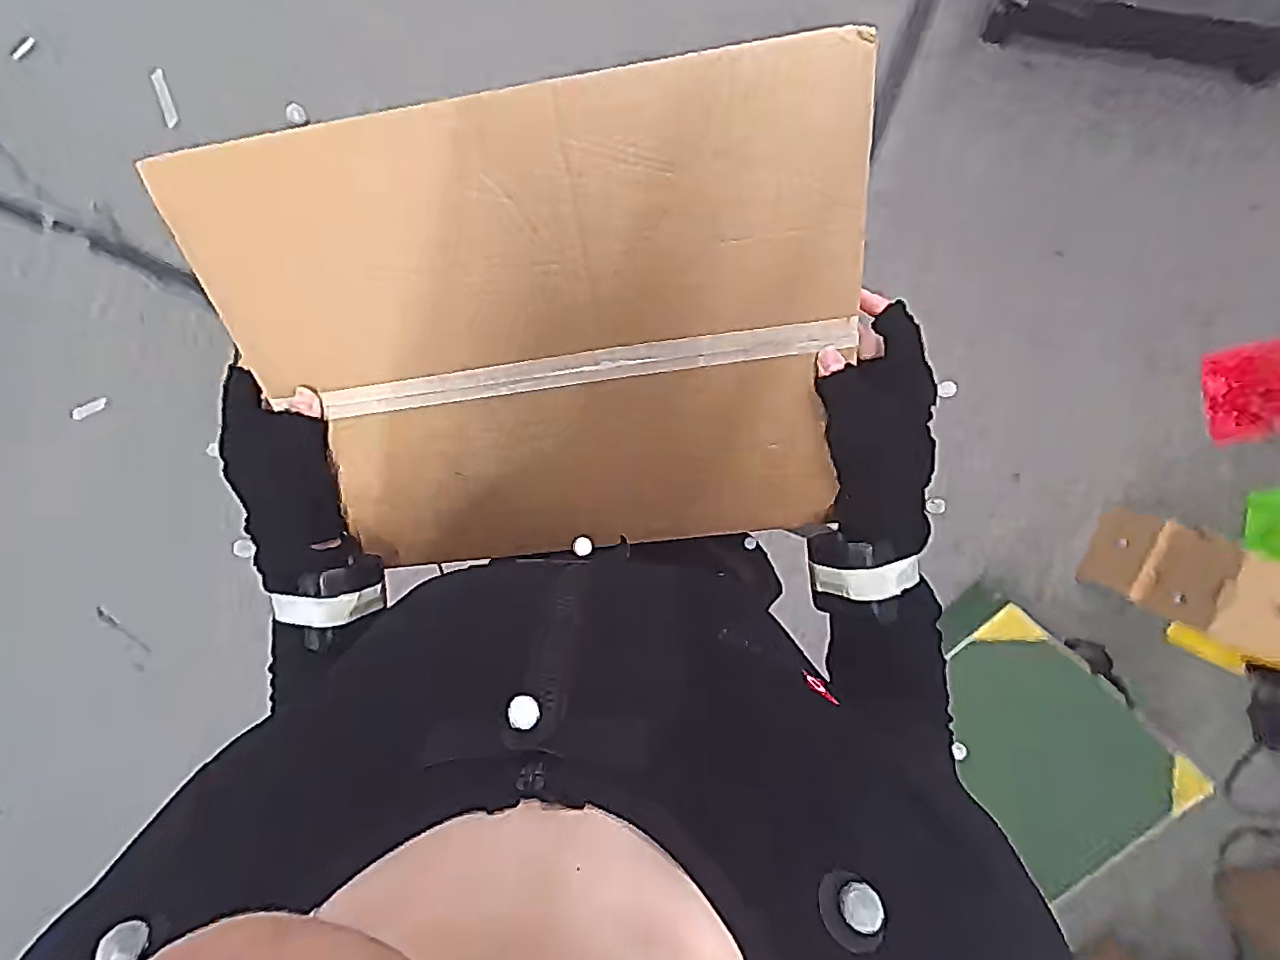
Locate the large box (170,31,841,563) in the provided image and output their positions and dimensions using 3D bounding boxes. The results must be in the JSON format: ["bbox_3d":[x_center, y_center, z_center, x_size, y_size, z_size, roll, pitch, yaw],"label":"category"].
[{"bbox_3d":[-0.064,-0.159,0.505,0.408,0.320,0.320,-7,124,6],"label":"large box"}]
